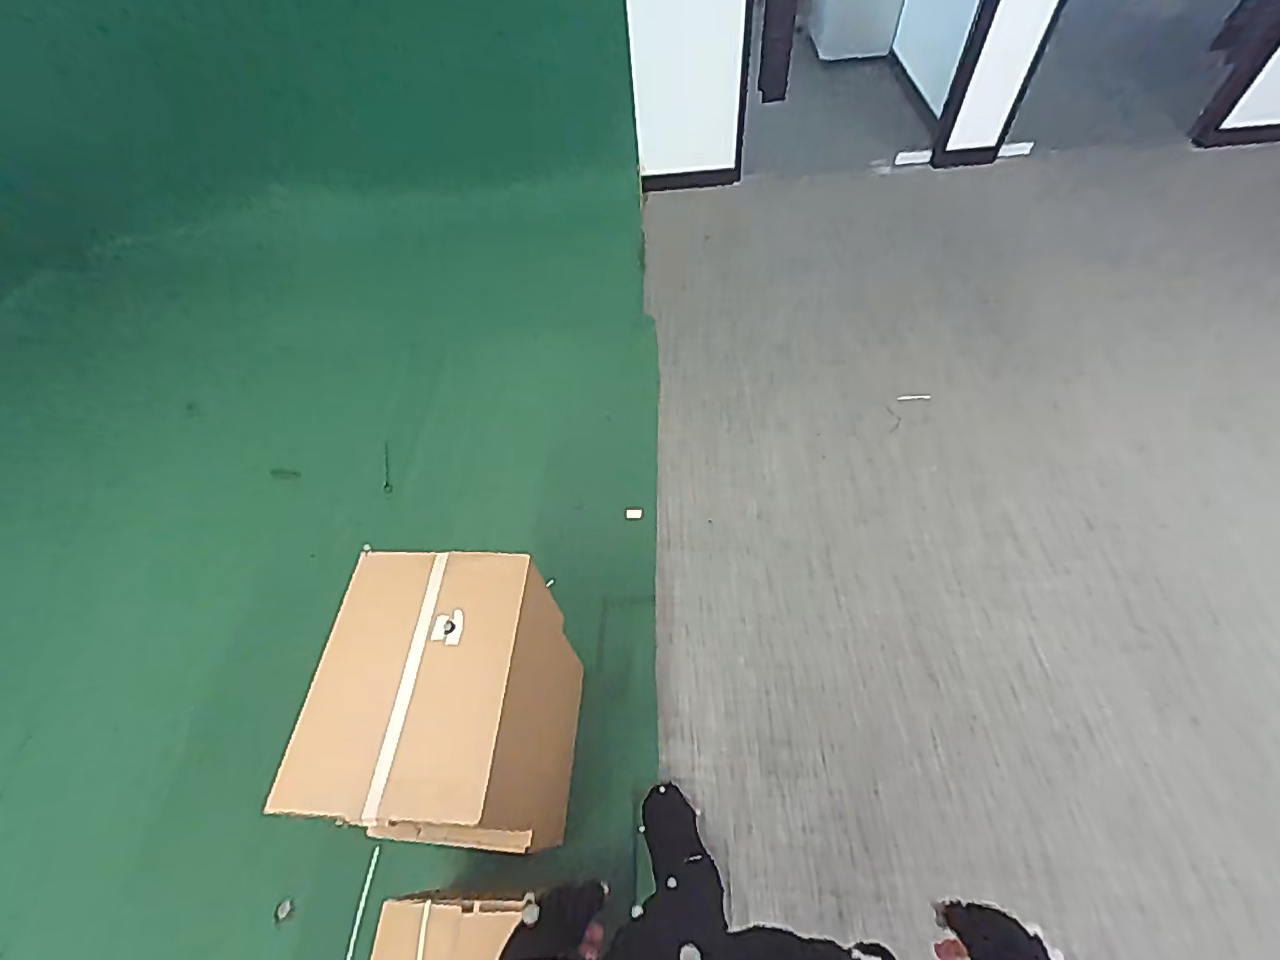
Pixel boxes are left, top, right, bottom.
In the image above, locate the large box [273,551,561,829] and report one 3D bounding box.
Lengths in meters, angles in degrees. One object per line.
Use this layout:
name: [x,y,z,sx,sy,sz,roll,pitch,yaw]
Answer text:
large box: [-0.342,0.379,0.970,0.320,0.320,0.408,1,55,5]
